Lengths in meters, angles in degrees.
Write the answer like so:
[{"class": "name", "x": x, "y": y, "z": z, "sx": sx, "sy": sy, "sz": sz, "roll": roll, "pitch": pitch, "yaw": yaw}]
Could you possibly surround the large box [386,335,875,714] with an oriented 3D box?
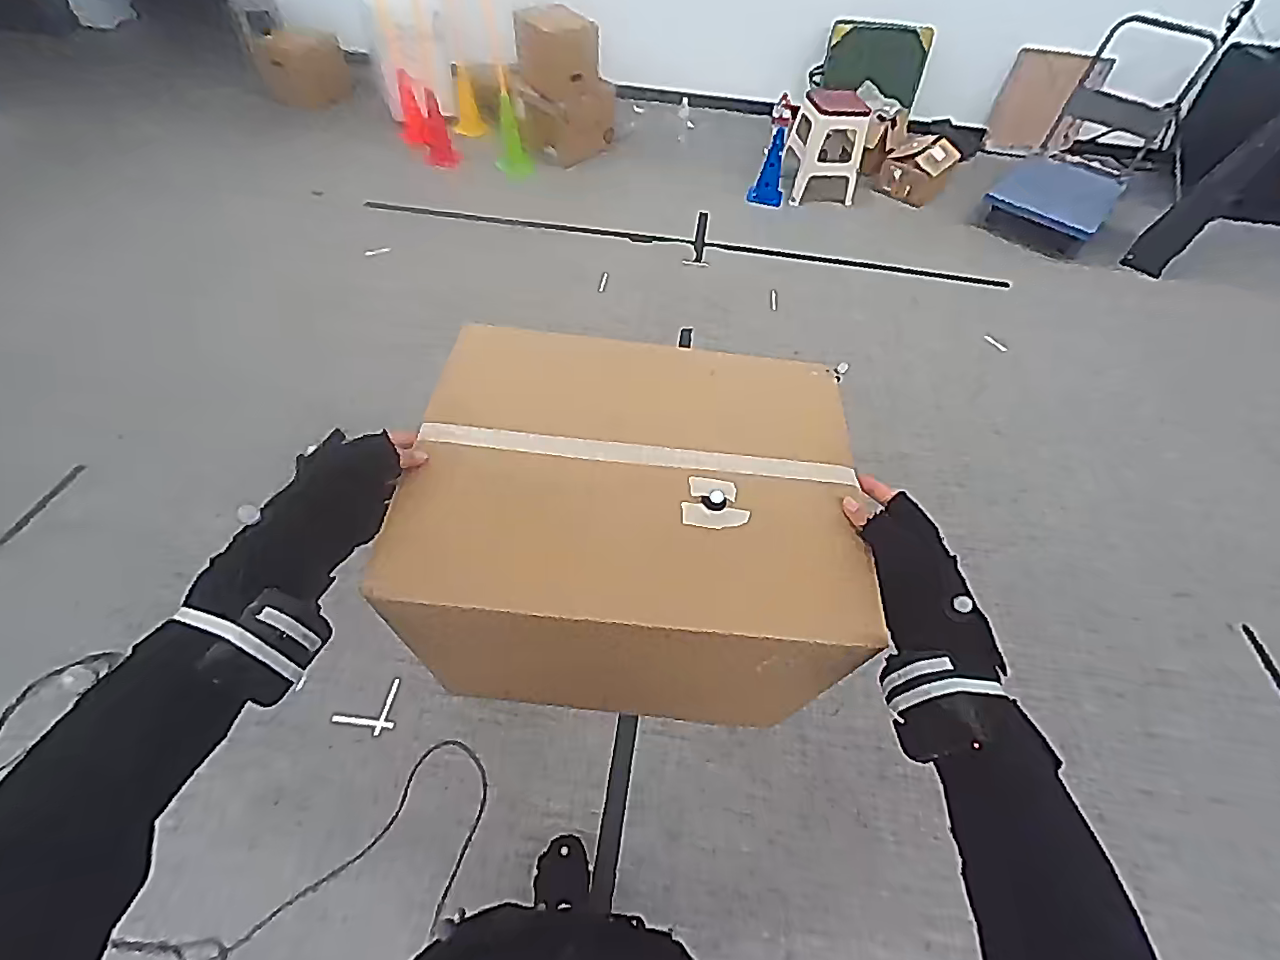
[{"class": "large box", "x": -0.011, "y": 0.067, "z": 0.635, "sx": 0.408, "sy": 0.320, "sz": 0.320, "roll": 6, "pitch": 56, "yaw": -2}]
